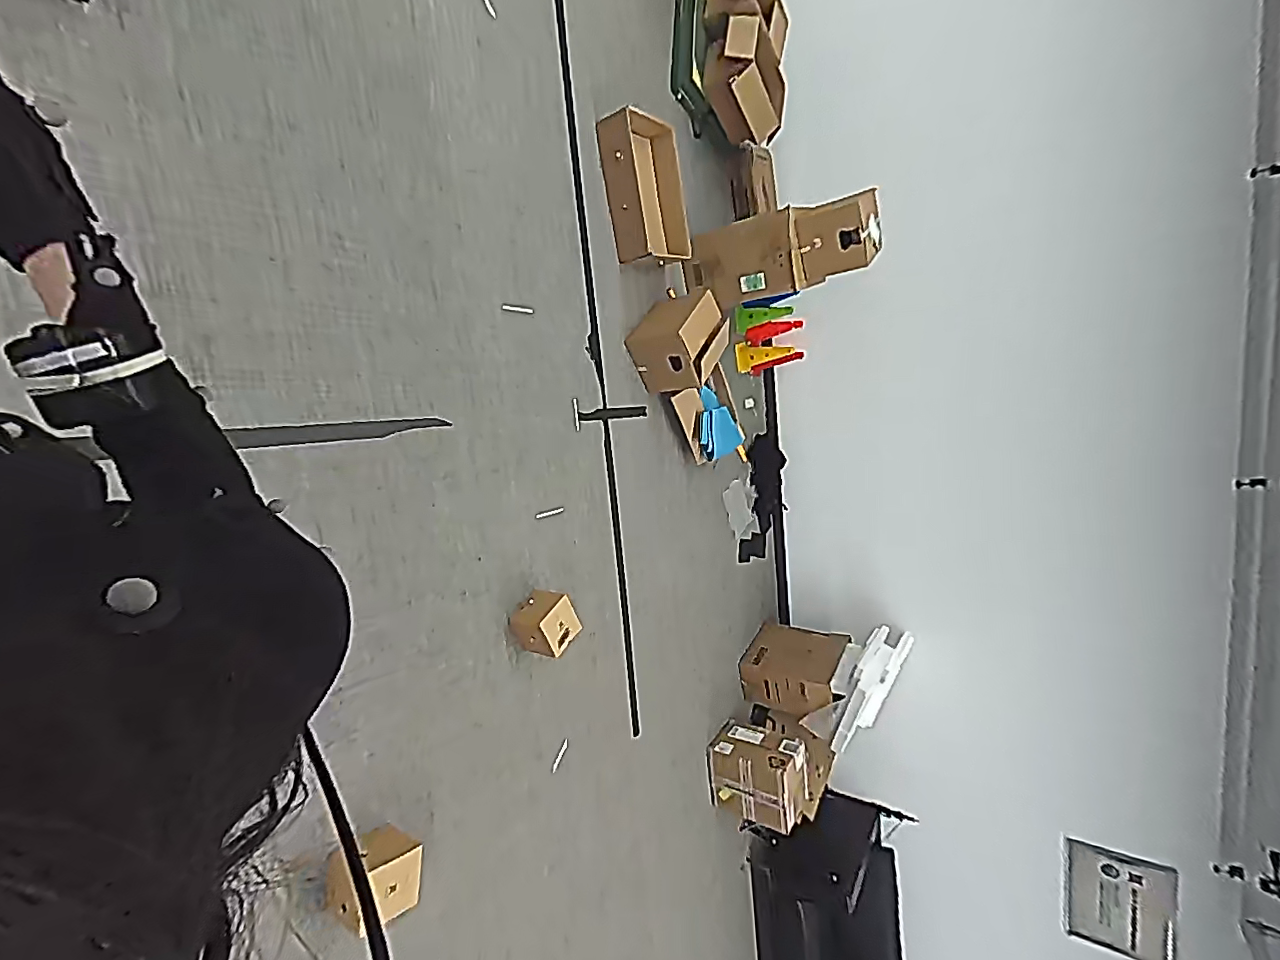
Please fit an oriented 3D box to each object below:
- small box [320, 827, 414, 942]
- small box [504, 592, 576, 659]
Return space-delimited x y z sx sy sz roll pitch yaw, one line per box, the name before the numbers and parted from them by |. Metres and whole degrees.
small box | -0.761 1.113 1.505 0.179 0.176 0.168 7 86 -56
small box | -0.378 0.543 2.044 0.168 0.176 0.179 -47 126 -45
